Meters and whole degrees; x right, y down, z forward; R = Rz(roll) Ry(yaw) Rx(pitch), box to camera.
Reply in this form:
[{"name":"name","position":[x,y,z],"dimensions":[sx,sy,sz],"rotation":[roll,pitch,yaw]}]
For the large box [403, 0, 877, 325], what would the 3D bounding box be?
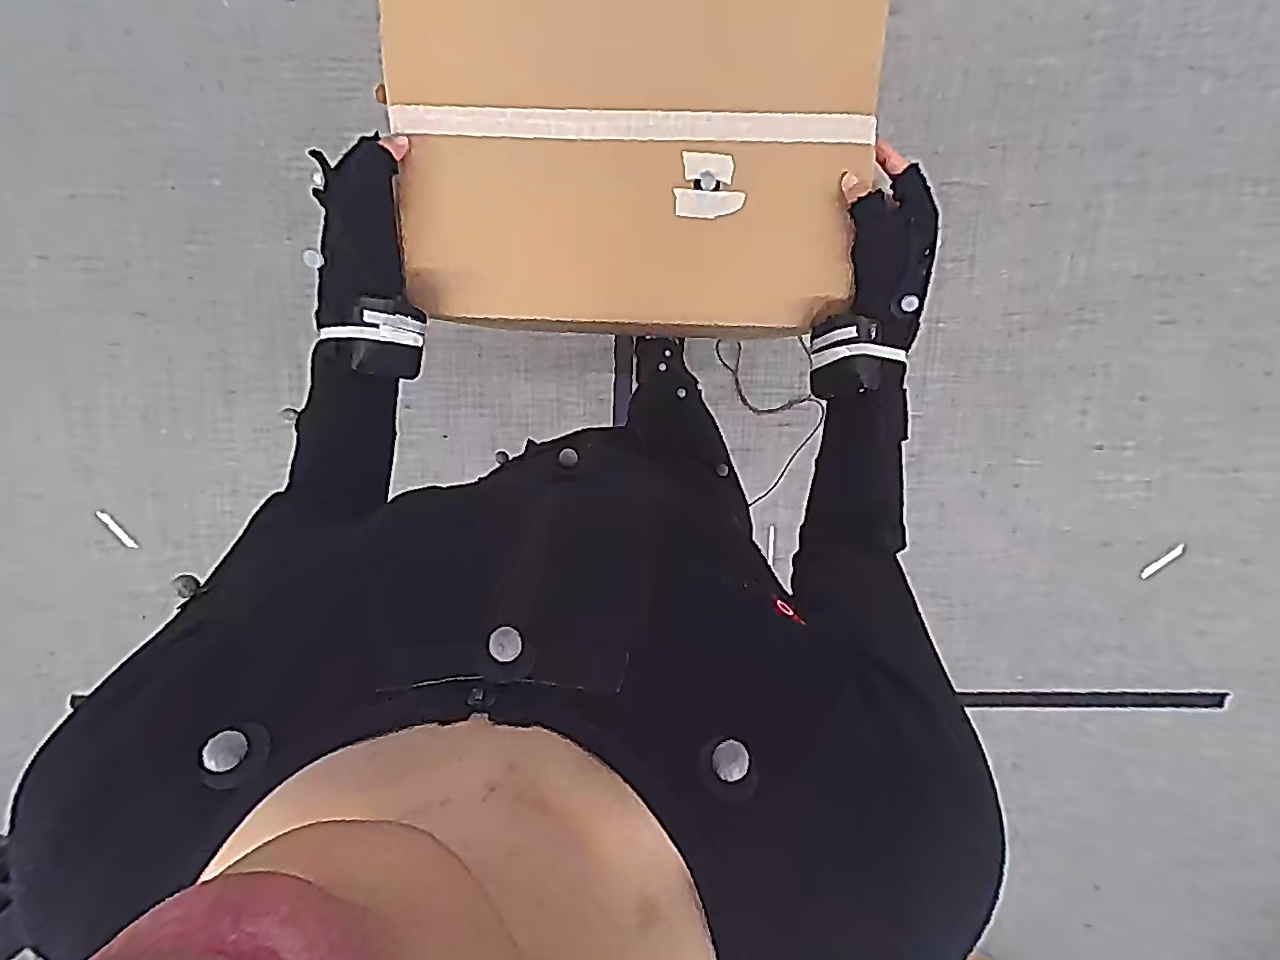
[{"name":"large box","position":[-0.002,-0.346,0.616],"dimensions":[0.408,0.320,0.320],"rotation":[2,104,0]}]
